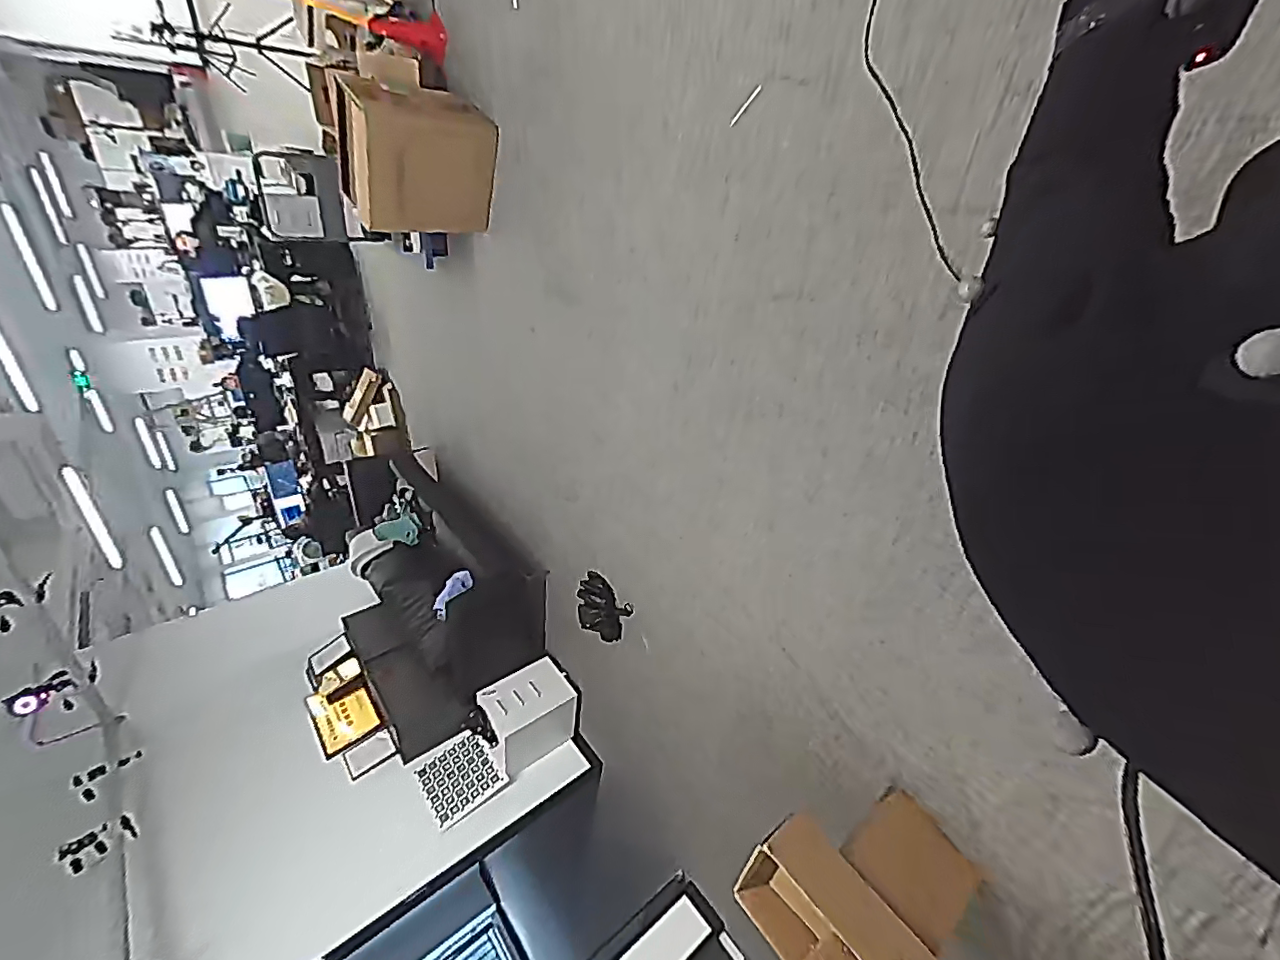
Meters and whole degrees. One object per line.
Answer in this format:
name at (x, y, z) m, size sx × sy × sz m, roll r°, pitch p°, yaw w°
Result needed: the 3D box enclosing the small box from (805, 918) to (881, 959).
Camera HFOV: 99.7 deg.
small box at (0.600, 1.444, 1.590) m, size 0.168 × 0.176 × 0.179 m, roll 43°, pitch 138°, yaw 37°
